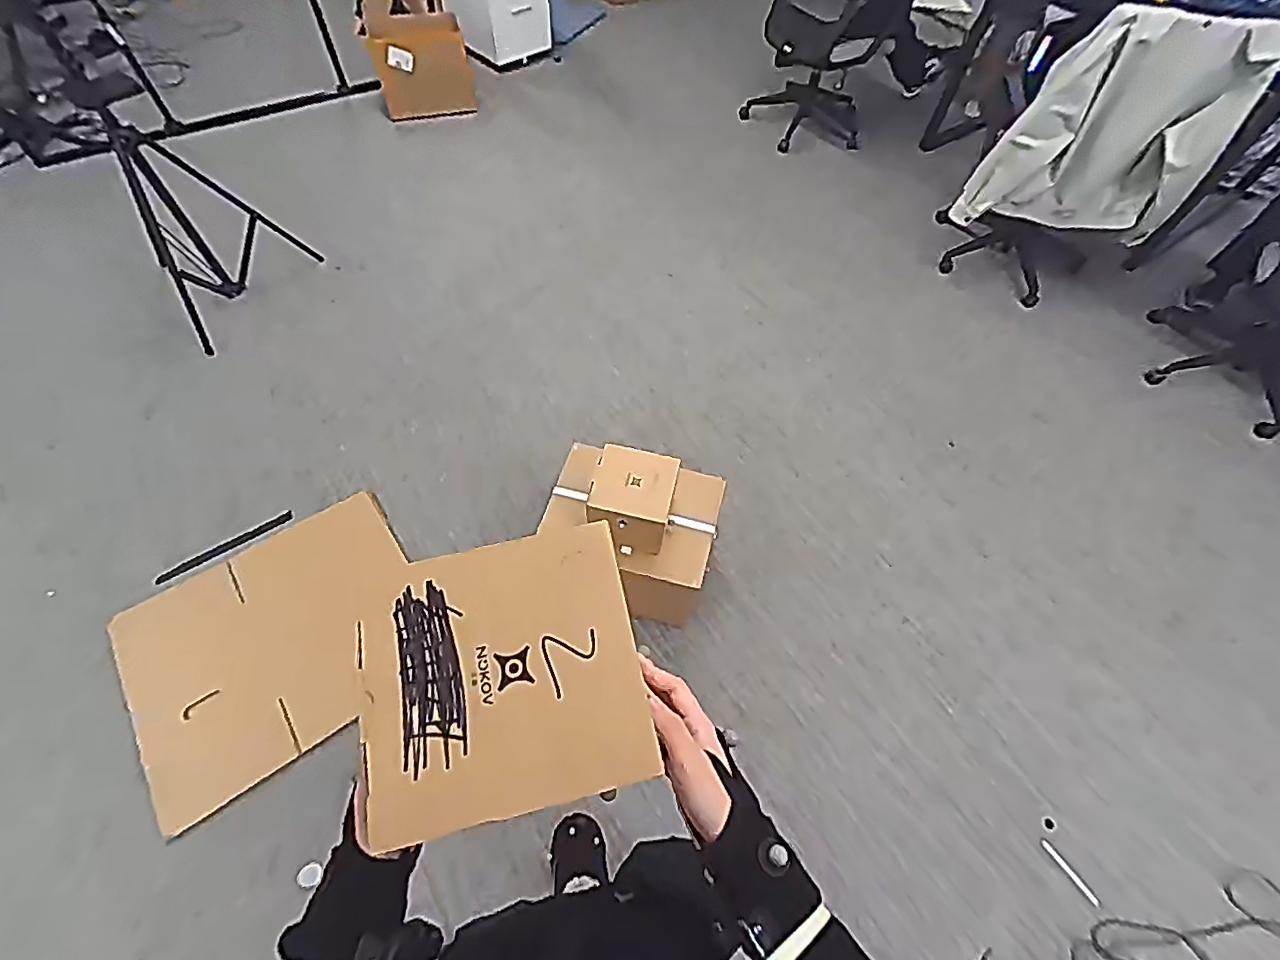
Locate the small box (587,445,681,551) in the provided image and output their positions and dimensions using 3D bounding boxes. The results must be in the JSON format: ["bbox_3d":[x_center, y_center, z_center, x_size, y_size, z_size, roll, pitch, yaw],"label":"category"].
[{"bbox_3d":[-0.013,0.046,1.231,0.179,0.176,0.168,12,60,4],"label":"small box"}]
